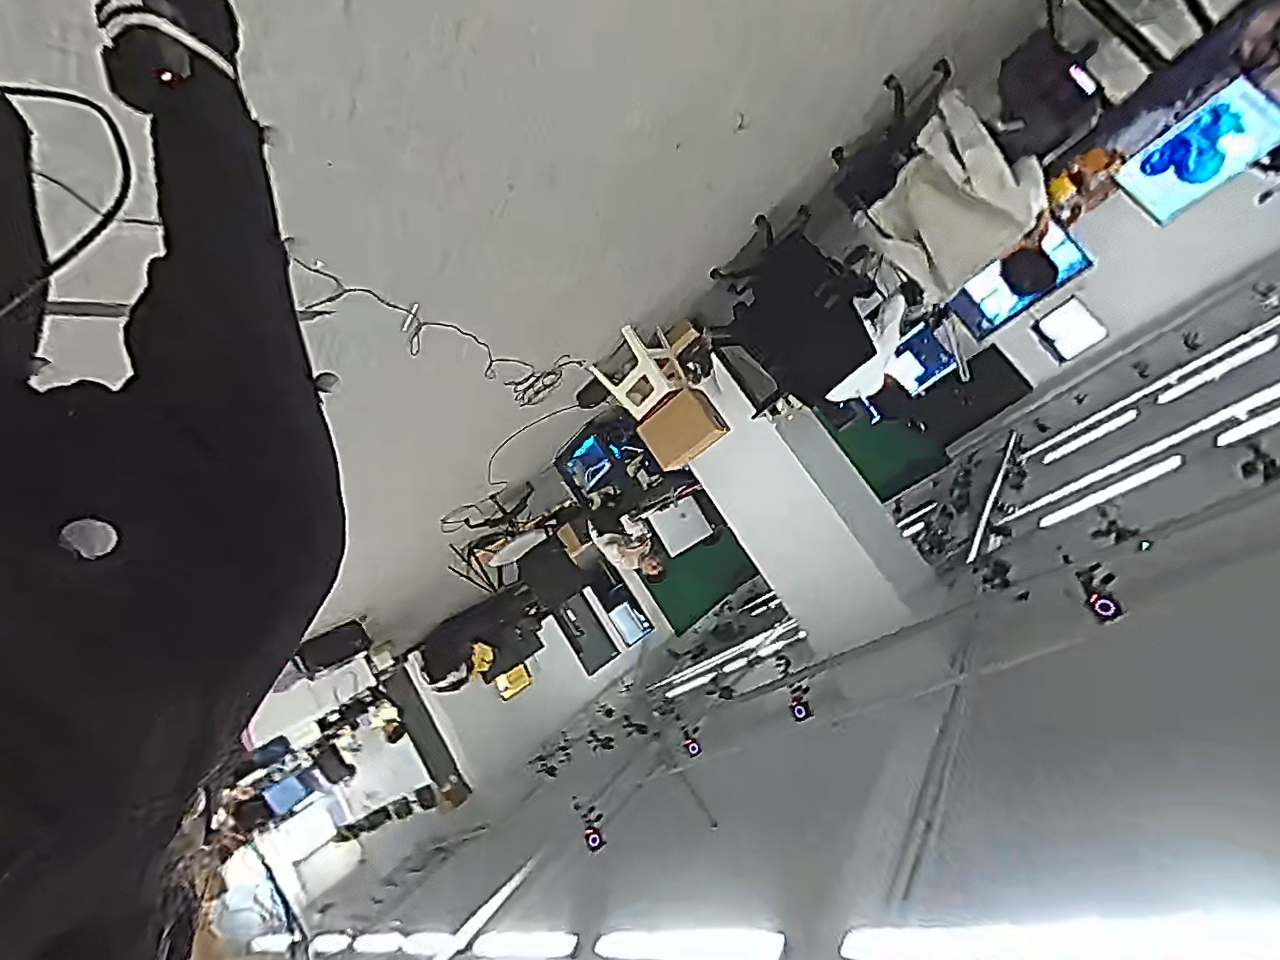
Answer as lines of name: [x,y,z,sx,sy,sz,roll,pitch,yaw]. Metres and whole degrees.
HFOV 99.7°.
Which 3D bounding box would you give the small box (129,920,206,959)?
small box: [-1.361,1.404,1.530,0.168,0.176,0.179,-41,168,35]
